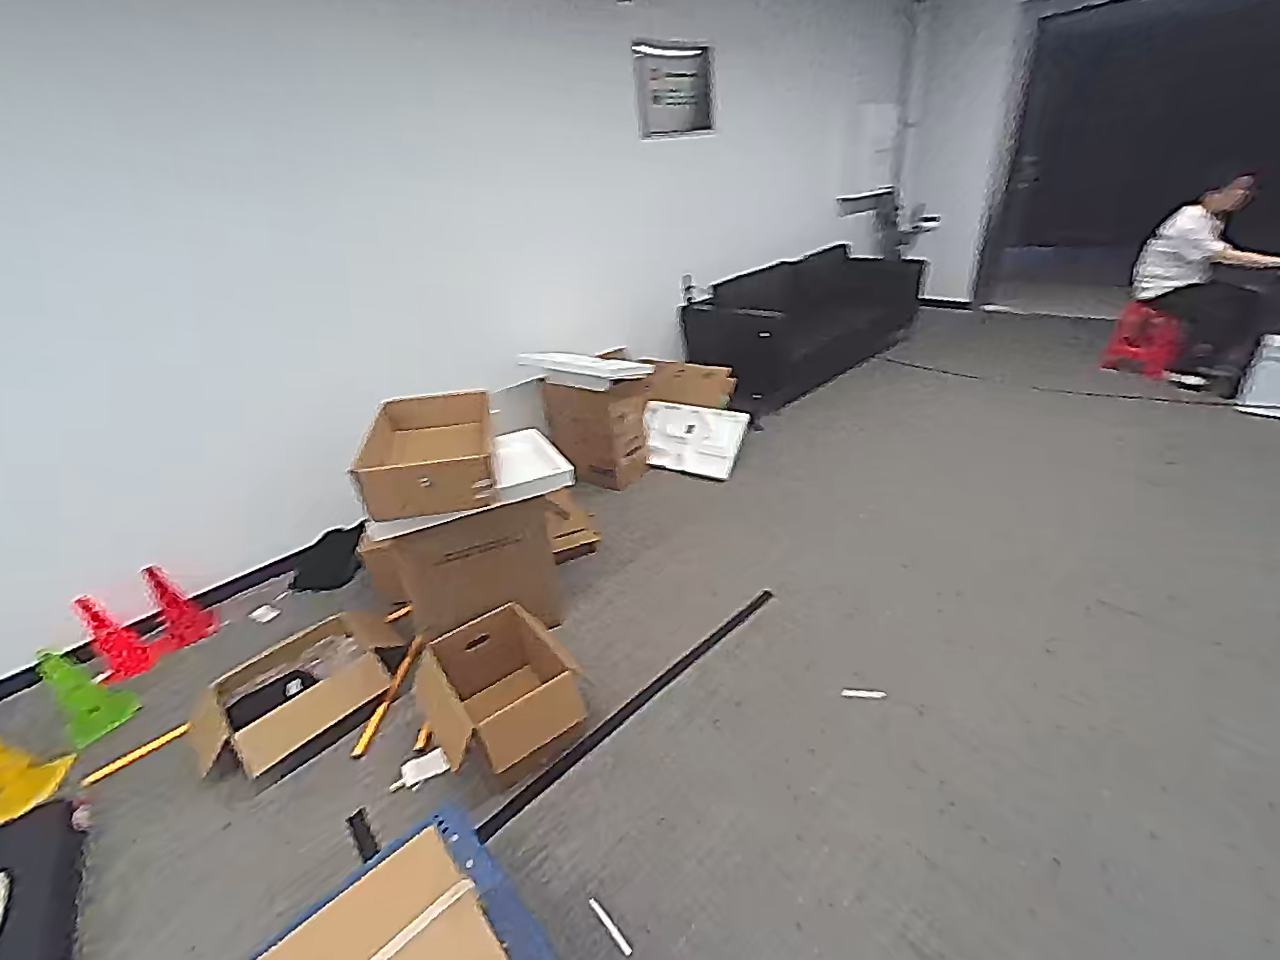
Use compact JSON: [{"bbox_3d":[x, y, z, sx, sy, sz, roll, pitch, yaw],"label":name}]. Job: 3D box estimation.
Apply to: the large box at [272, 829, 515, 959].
[{"bbox_3d":[-0.433,0.944,0.936,0.408,0.320,0.320,-29,35,-33],"label":"large box"}]
